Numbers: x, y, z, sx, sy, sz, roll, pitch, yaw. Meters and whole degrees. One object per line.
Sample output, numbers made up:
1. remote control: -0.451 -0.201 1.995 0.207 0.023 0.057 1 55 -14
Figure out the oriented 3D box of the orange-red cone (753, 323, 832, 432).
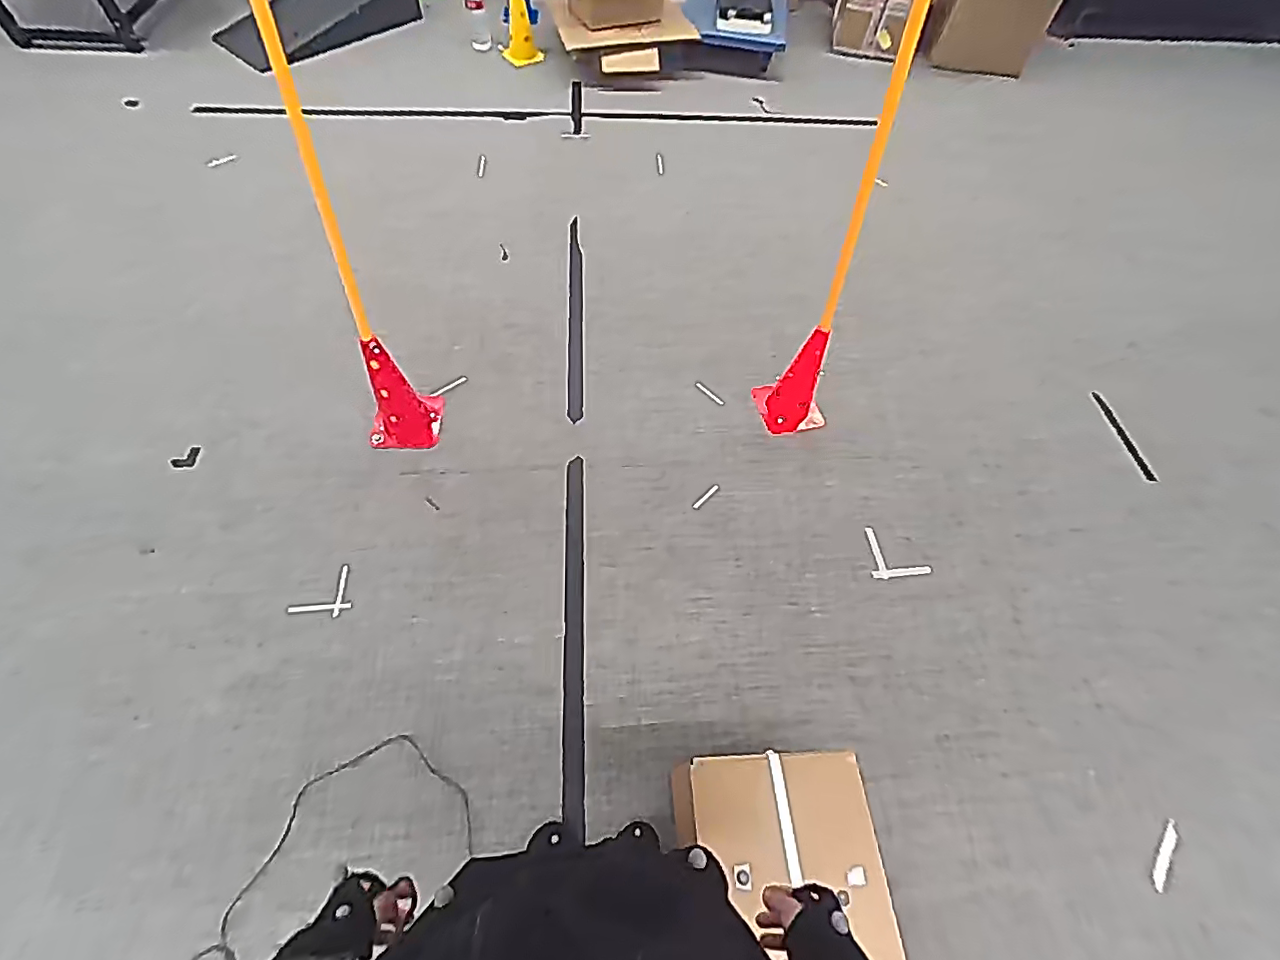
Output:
1. orange-red cone: 0.498 -0.331 1.631 0.199 0.360 0.198 -9 61 -10
